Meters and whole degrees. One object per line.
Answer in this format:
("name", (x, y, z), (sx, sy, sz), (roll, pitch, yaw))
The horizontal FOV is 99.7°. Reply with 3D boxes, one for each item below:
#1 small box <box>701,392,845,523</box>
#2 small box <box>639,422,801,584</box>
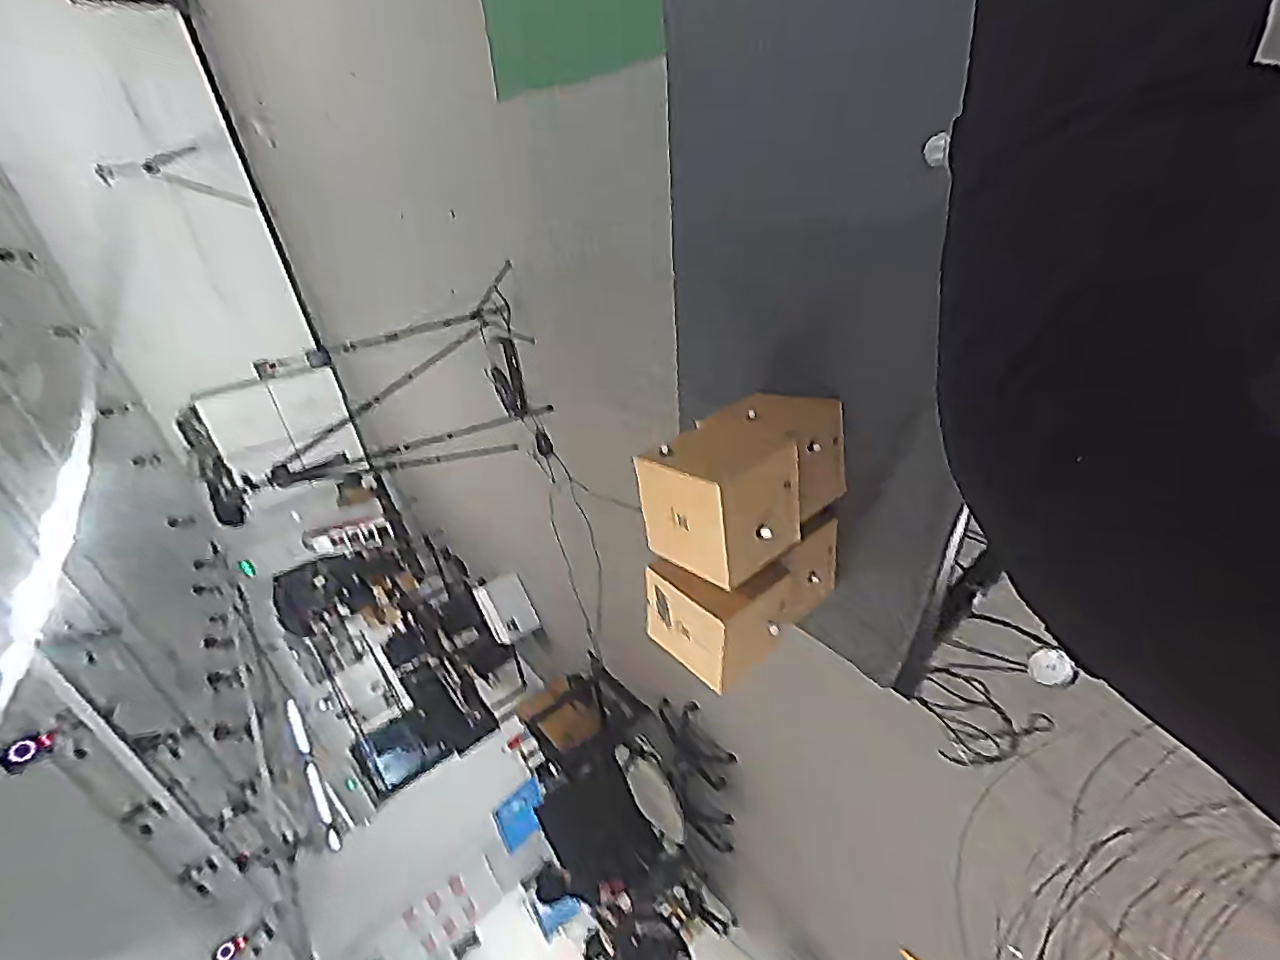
("small box", (0.232, -0.046, 0.918), (0.179, 0.176, 0.168), (17, 125, 50))
("small box", (0.127, 0.023, 0.812), (0.179, 0.176, 0.168), (20, 127, 49))
